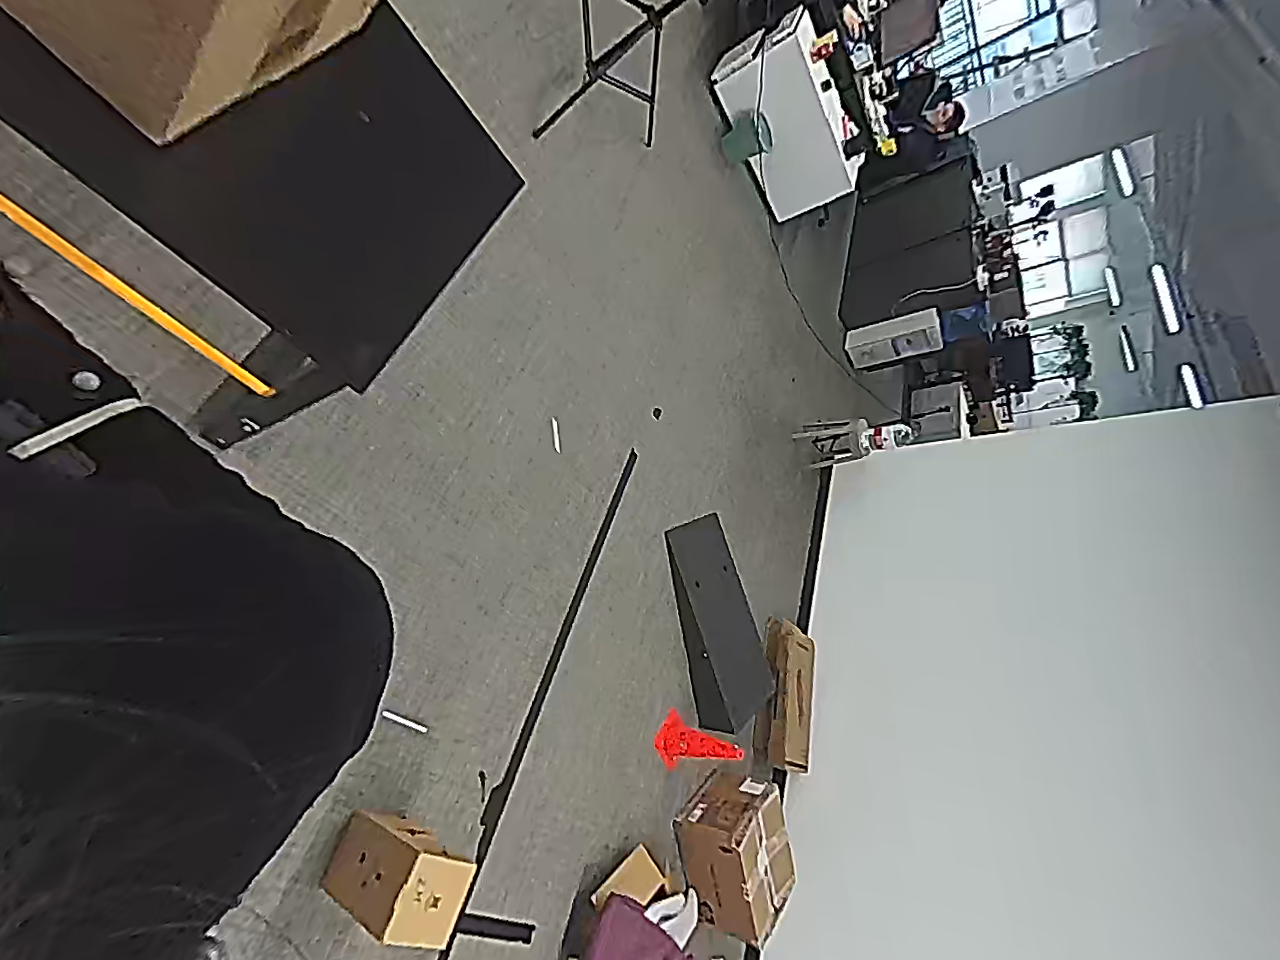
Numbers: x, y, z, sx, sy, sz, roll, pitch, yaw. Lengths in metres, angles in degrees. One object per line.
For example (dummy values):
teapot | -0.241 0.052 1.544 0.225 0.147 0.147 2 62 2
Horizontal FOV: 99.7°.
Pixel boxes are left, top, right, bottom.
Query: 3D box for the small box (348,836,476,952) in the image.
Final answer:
small box | -0.525 0.950 1.249 0.179 0.176 0.168 47 50 -36

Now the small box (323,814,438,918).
small box | -0.652 0.964 1.354 0.168 0.176 0.179 43 53 -38
